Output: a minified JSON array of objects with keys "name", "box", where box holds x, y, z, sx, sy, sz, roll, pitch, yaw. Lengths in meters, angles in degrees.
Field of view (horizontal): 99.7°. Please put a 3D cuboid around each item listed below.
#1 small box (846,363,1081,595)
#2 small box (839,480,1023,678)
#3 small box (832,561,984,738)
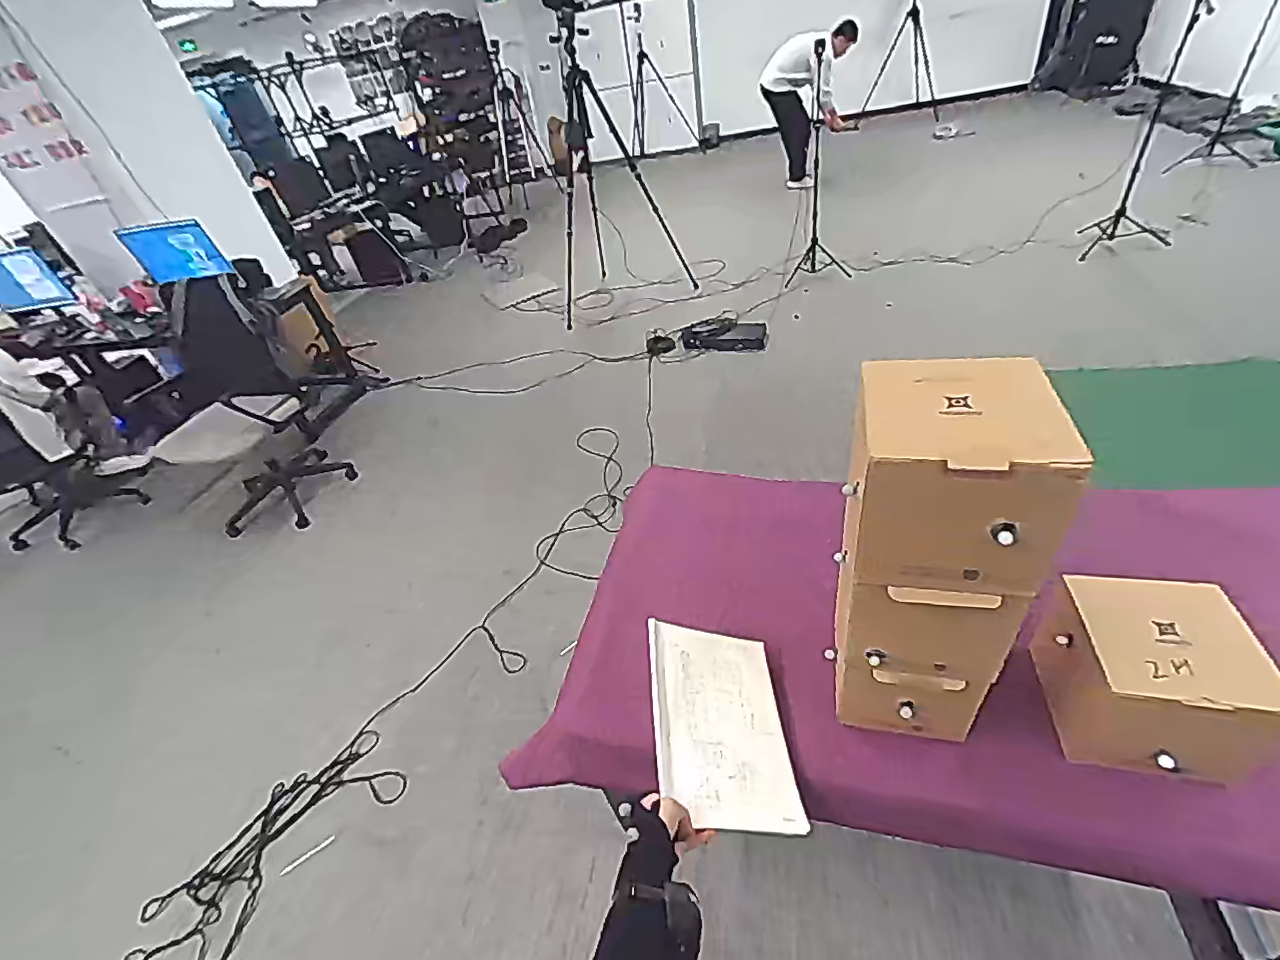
[{"name":"small box","box":[0.309,-0.003,0.560,0.168,0.176,0.179,3,41,18]},{"name":"small box","box":[0.338,0.118,0.665,0.168,0.176,0.179,2,40,18]},{"name":"small box","box":[0.367,0.240,0.772,0.168,0.176,0.179,2,41,17]}]
